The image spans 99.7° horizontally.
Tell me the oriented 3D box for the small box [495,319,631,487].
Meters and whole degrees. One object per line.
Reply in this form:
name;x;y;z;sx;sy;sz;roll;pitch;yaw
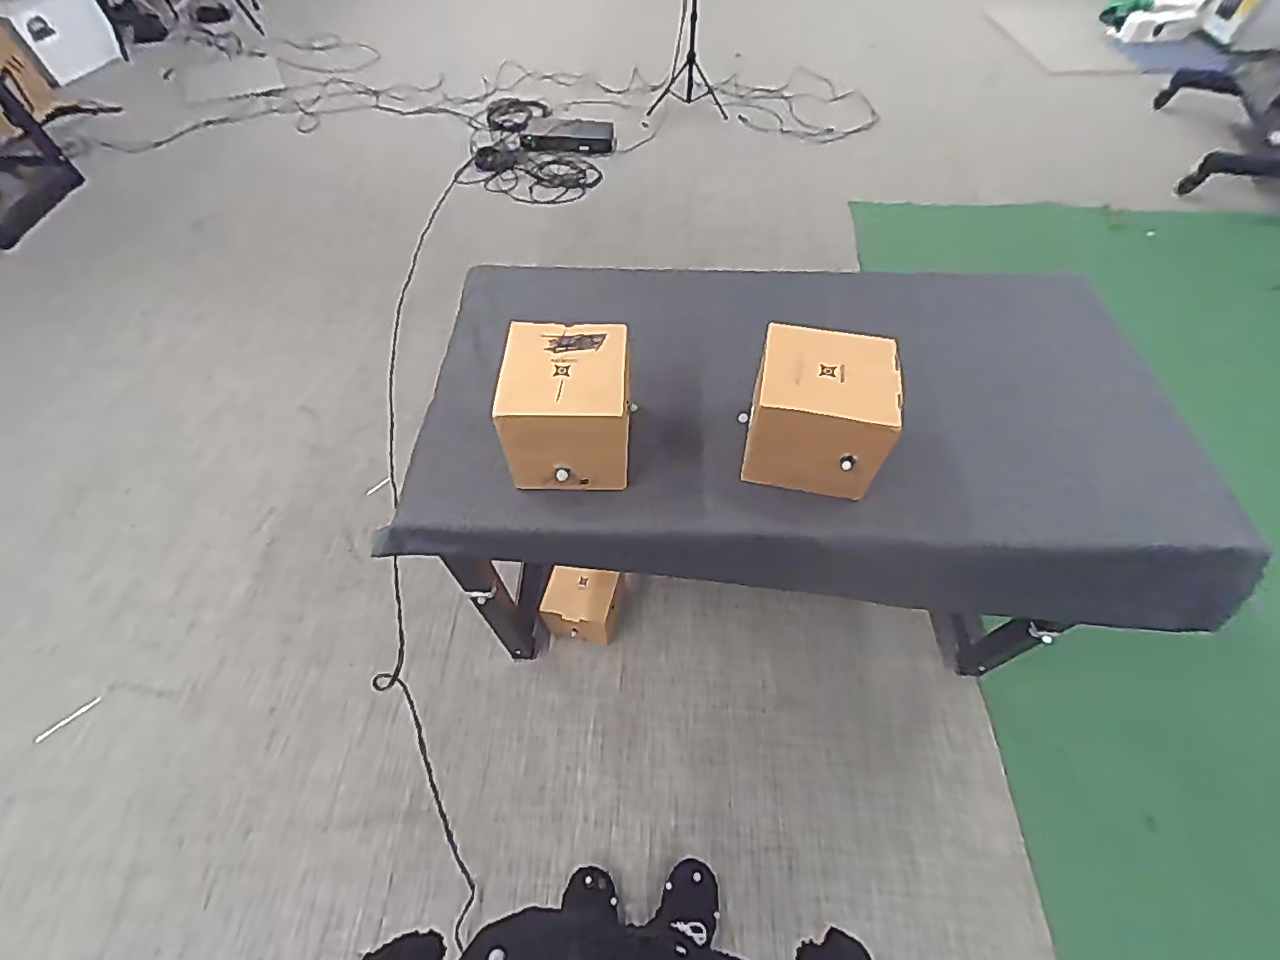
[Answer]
small box;-0.099;-0.109;0.784;0.168;0.176;0.179;1;56;0

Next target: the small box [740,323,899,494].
small box;0.250;-0.098;0.783;0.179;0.176;0.168;9;55;7
